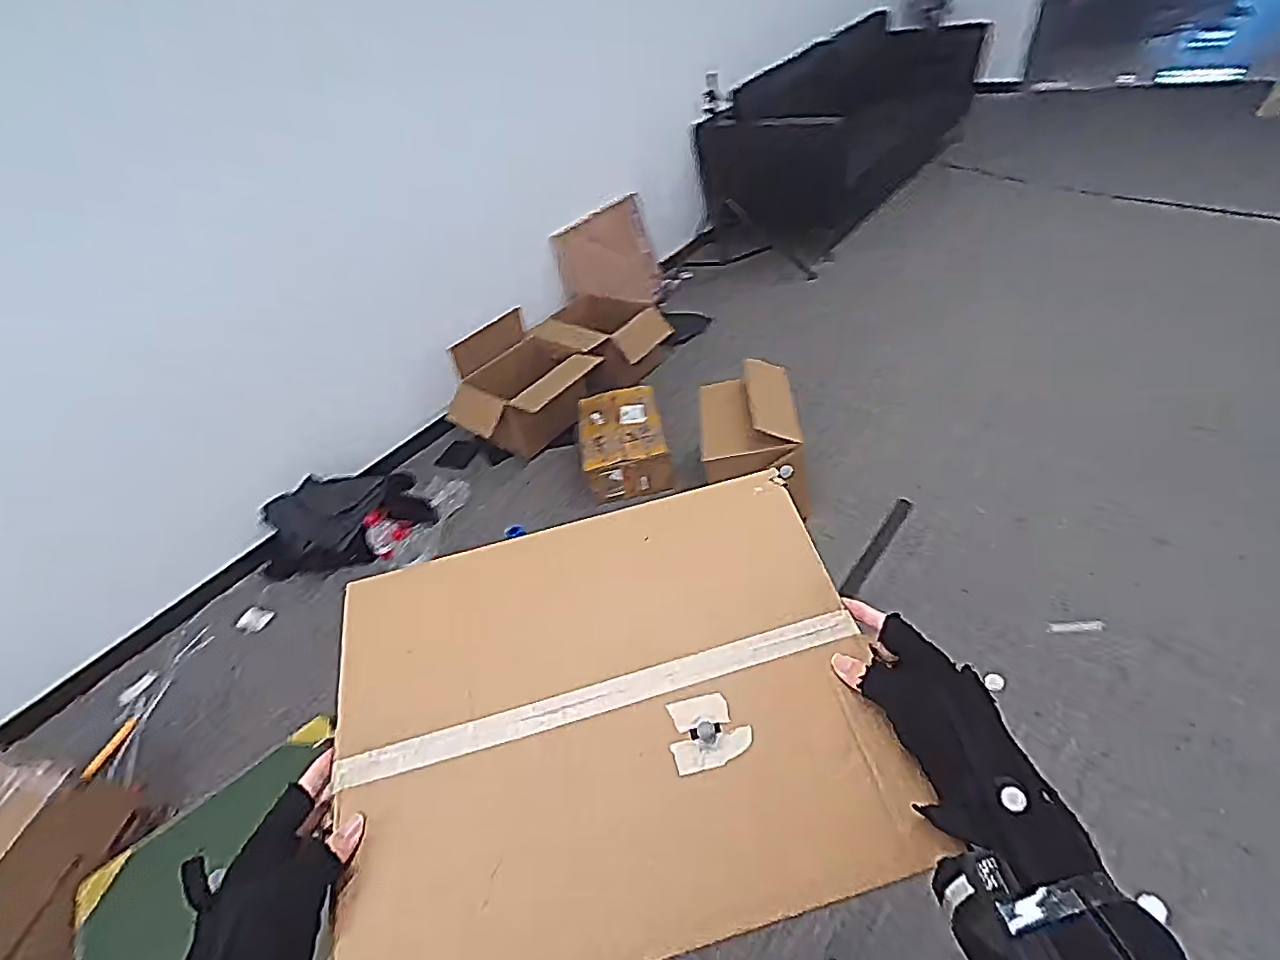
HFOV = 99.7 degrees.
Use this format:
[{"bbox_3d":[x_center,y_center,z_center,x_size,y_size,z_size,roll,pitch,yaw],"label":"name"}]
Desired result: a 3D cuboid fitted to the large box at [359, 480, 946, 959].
[{"bbox_3d":[-0.008,0.253,0.551,0.408,0.320,0.320,-14,57,-3],"label":"large box"}]
